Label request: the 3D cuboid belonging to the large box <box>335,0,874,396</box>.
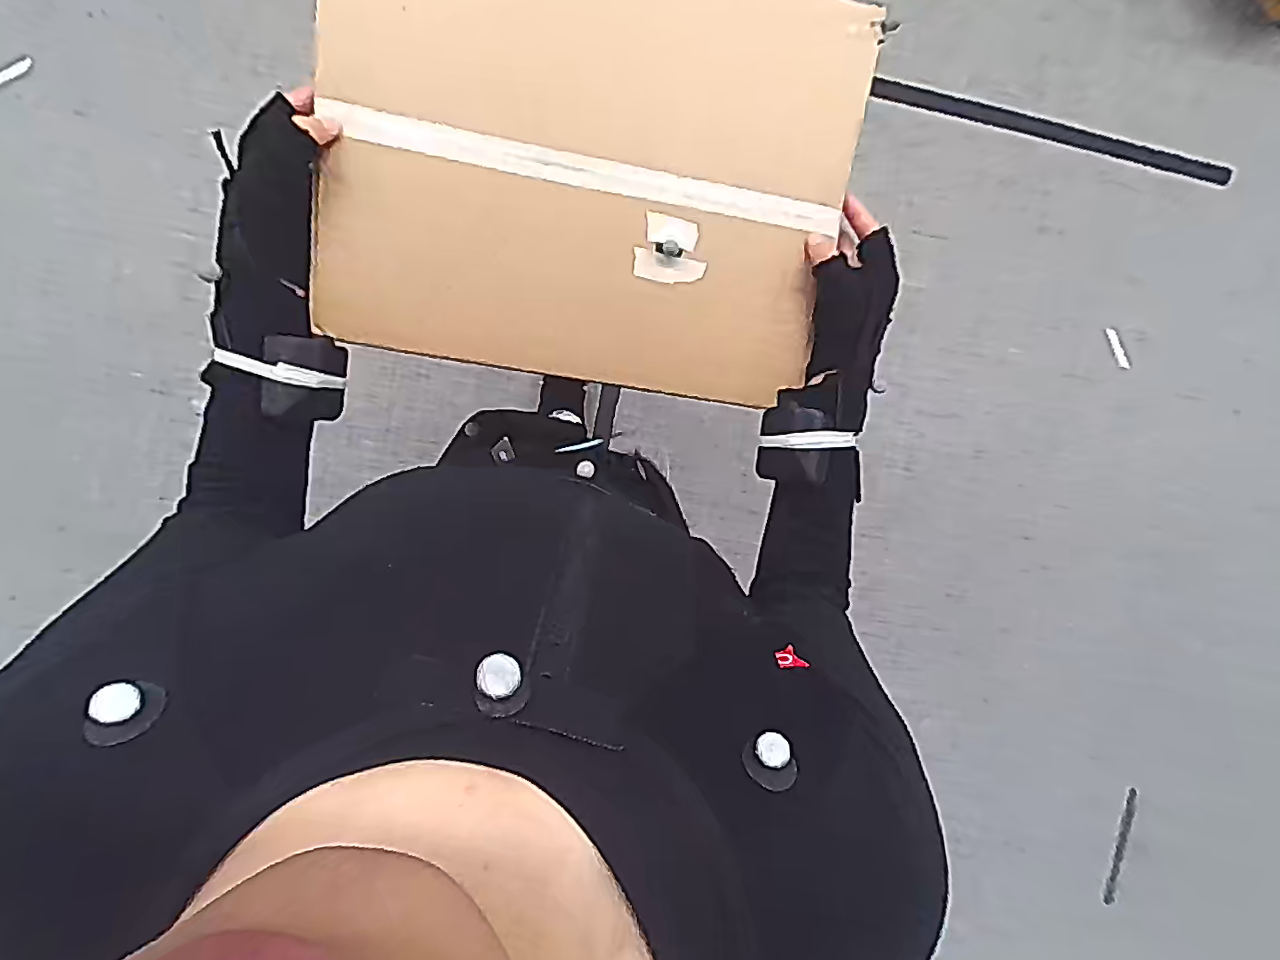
[{"bbox_3d":[-0.049,-0.280,0.574,0.408,0.320,0.320,8,103,-9],"label":"large box"}]
